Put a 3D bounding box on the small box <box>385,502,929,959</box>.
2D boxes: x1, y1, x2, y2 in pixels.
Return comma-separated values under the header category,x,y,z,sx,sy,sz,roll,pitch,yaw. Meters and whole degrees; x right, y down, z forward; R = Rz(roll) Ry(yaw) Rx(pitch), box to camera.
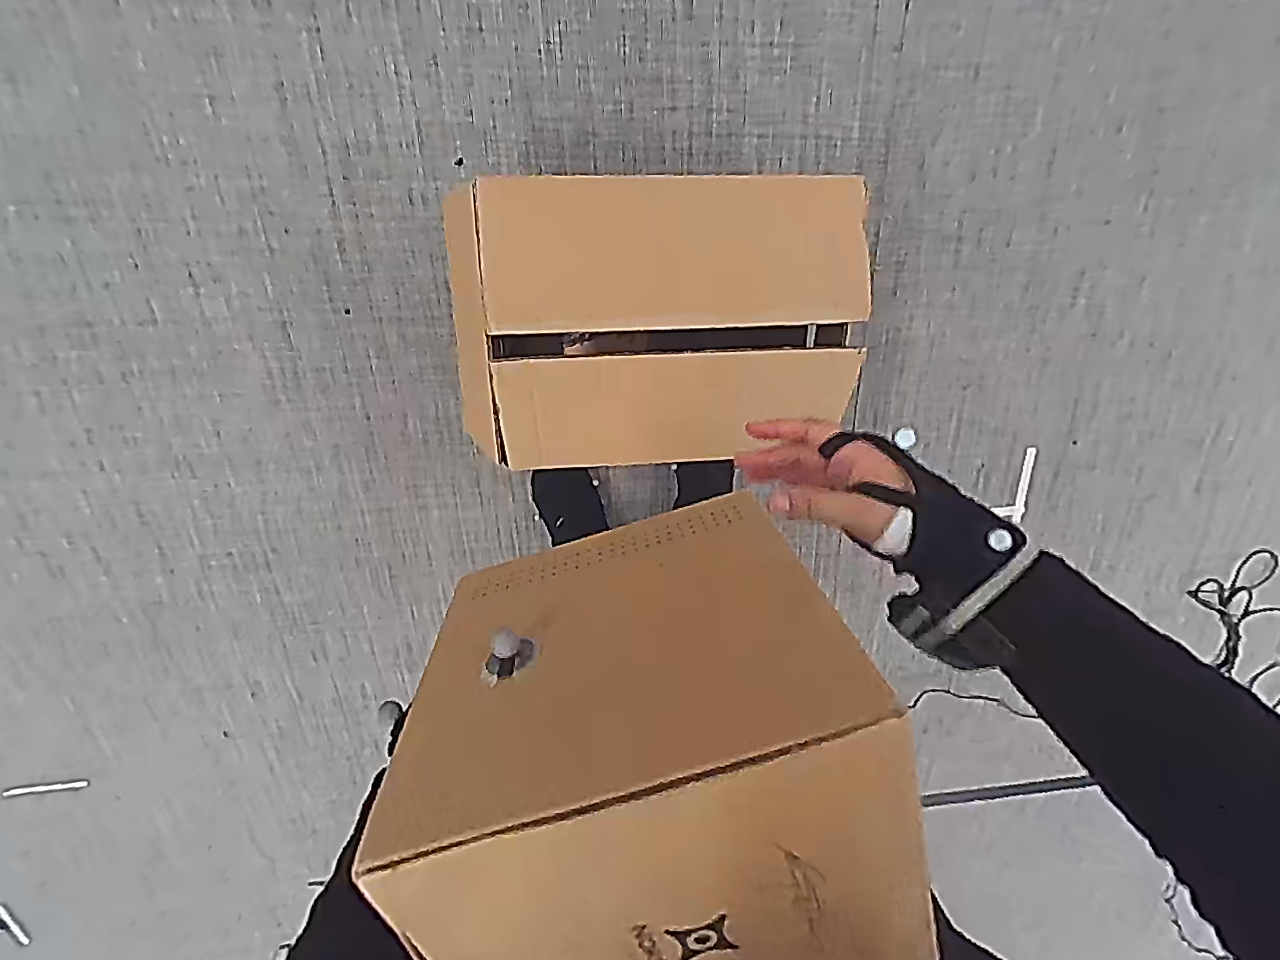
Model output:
category,x,y,z,sx,sy,sz,roll,pitch,yaw
small box,0.012,0.135,0.277,0.179,0.176,0.168,-18,114,0
